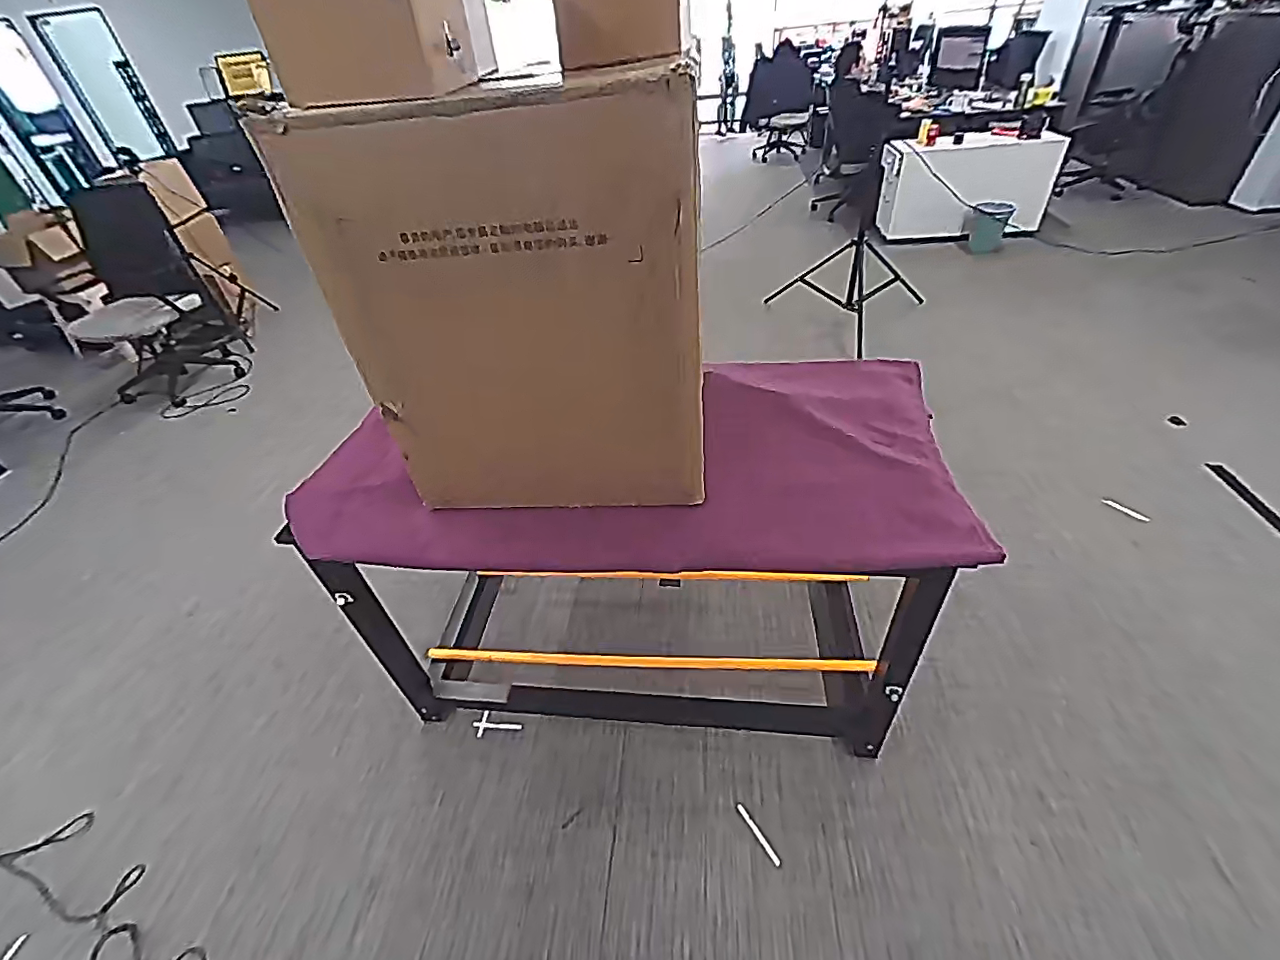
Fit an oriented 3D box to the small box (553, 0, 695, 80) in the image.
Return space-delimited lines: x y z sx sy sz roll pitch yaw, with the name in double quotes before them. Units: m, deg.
"small box" -0.017 -0.679 0.754 0.179 0.176 0.168 2 41 11
